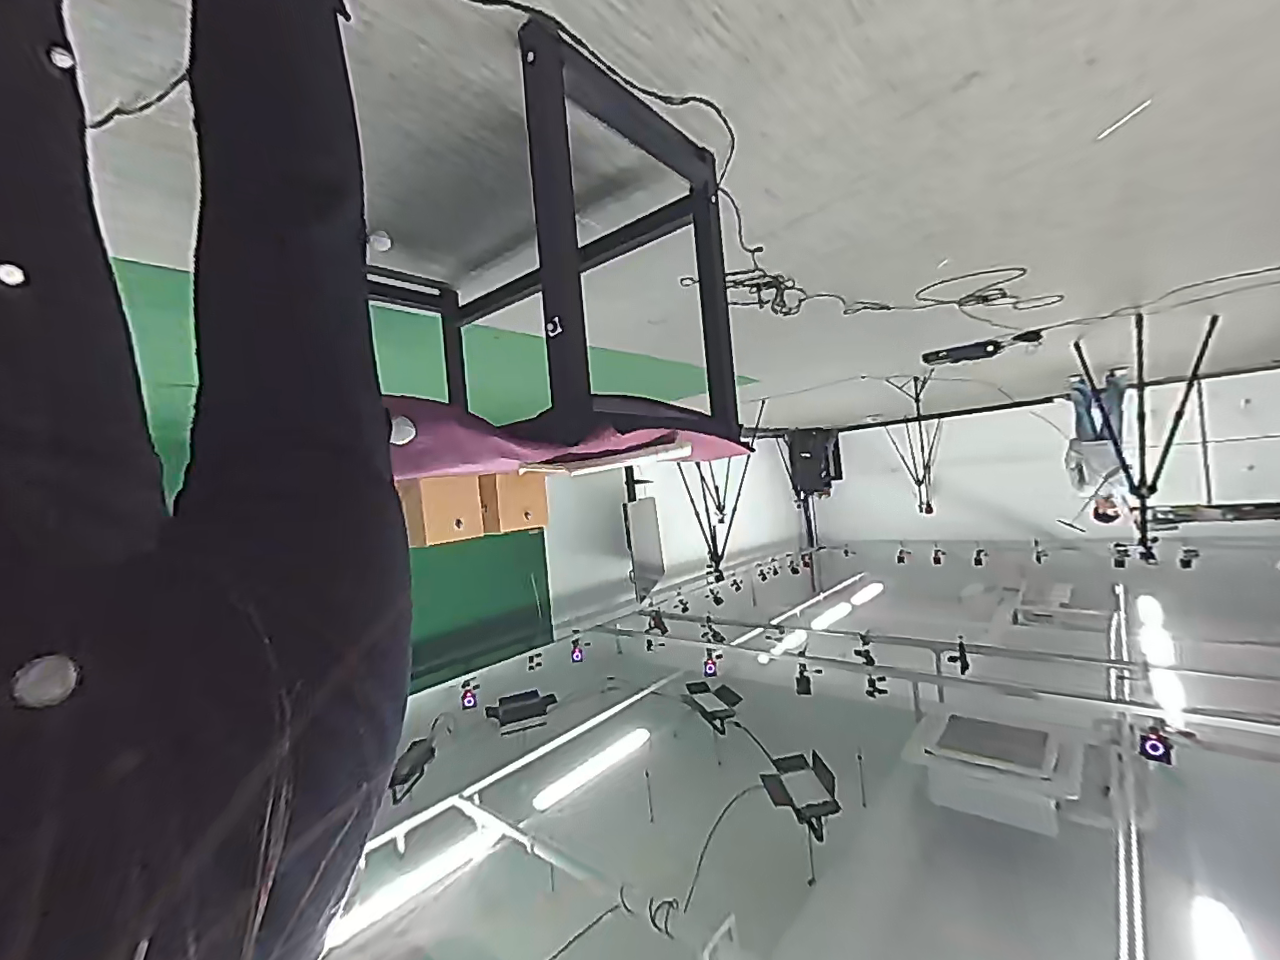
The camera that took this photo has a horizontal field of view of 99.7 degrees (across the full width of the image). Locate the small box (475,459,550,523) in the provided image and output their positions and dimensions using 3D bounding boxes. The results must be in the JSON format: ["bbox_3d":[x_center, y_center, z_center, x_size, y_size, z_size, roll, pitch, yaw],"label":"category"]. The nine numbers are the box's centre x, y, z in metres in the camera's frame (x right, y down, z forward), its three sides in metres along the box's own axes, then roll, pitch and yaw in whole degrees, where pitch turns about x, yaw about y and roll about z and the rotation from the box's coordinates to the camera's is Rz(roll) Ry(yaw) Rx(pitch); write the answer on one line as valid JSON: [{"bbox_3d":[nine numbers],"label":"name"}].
[{"bbox_3d":[-0.386,0.032,1.572,0.168,0.176,0.179,-5,-179,40],"label":"small box"}]

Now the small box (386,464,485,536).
[{"bbox_3d":[-0.526,0.049,1.391,0.168,0.176,0.179,-6,180,34],"label":"small box"}]
